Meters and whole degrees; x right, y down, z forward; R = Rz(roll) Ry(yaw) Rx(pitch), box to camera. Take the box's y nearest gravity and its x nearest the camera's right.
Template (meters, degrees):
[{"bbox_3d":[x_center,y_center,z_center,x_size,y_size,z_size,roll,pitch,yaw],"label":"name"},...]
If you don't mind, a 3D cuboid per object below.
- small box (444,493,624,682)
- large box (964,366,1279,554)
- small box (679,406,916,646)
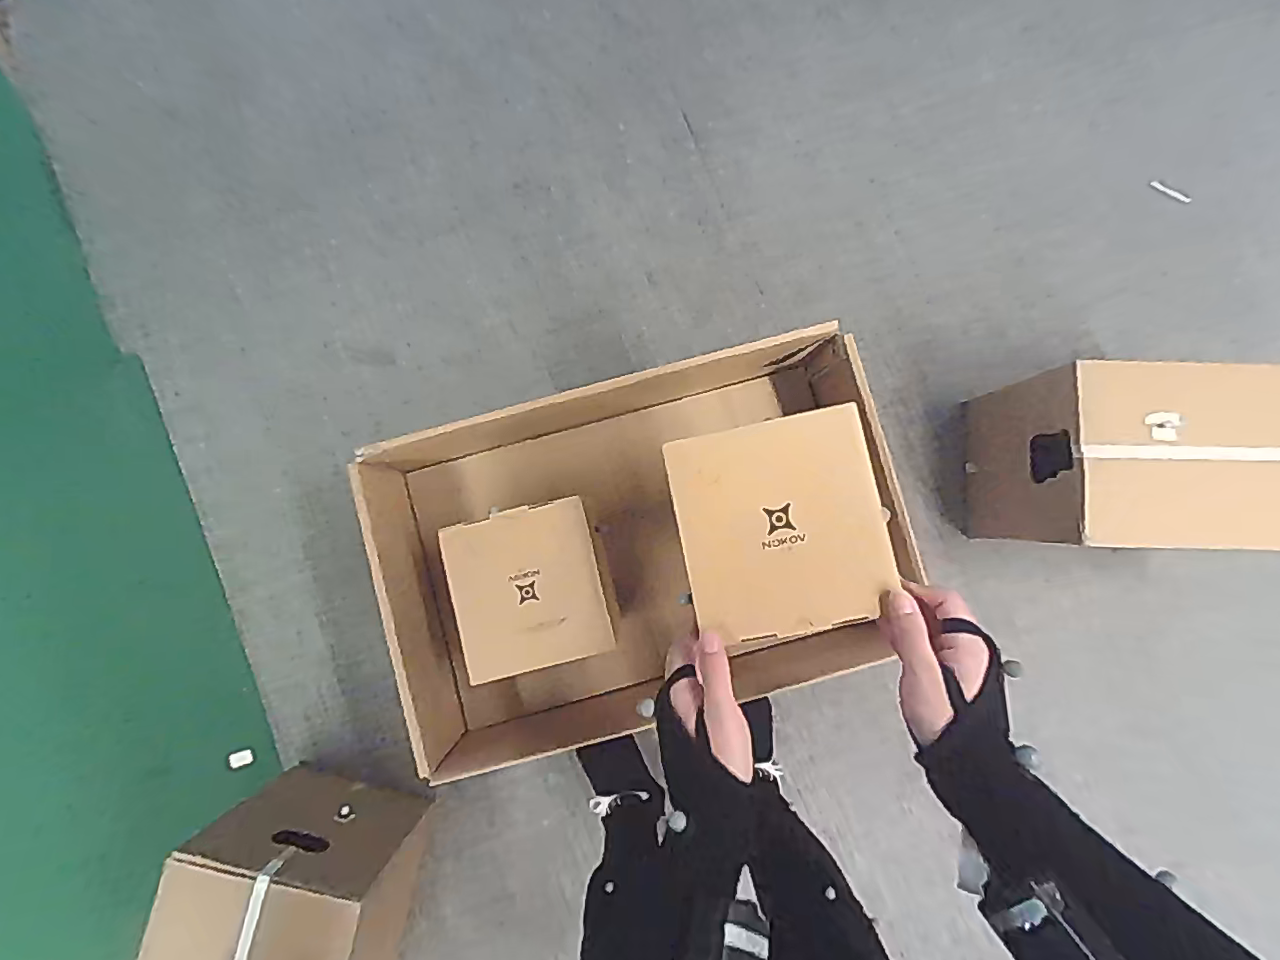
[{"bbox_3d":[-0.118,0.122,0.667,0.168,0.176,0.179,-14,87,0],"label":"small box"},{"bbox_3d":[0.914,-0.027,1.040,0.408,0.320,0.320,1,85,0],"label":"large box"},{"bbox_3d":[0.132,0.045,0.523,0.168,0.176,0.179,-11,84,5],"label":"small box"}]
